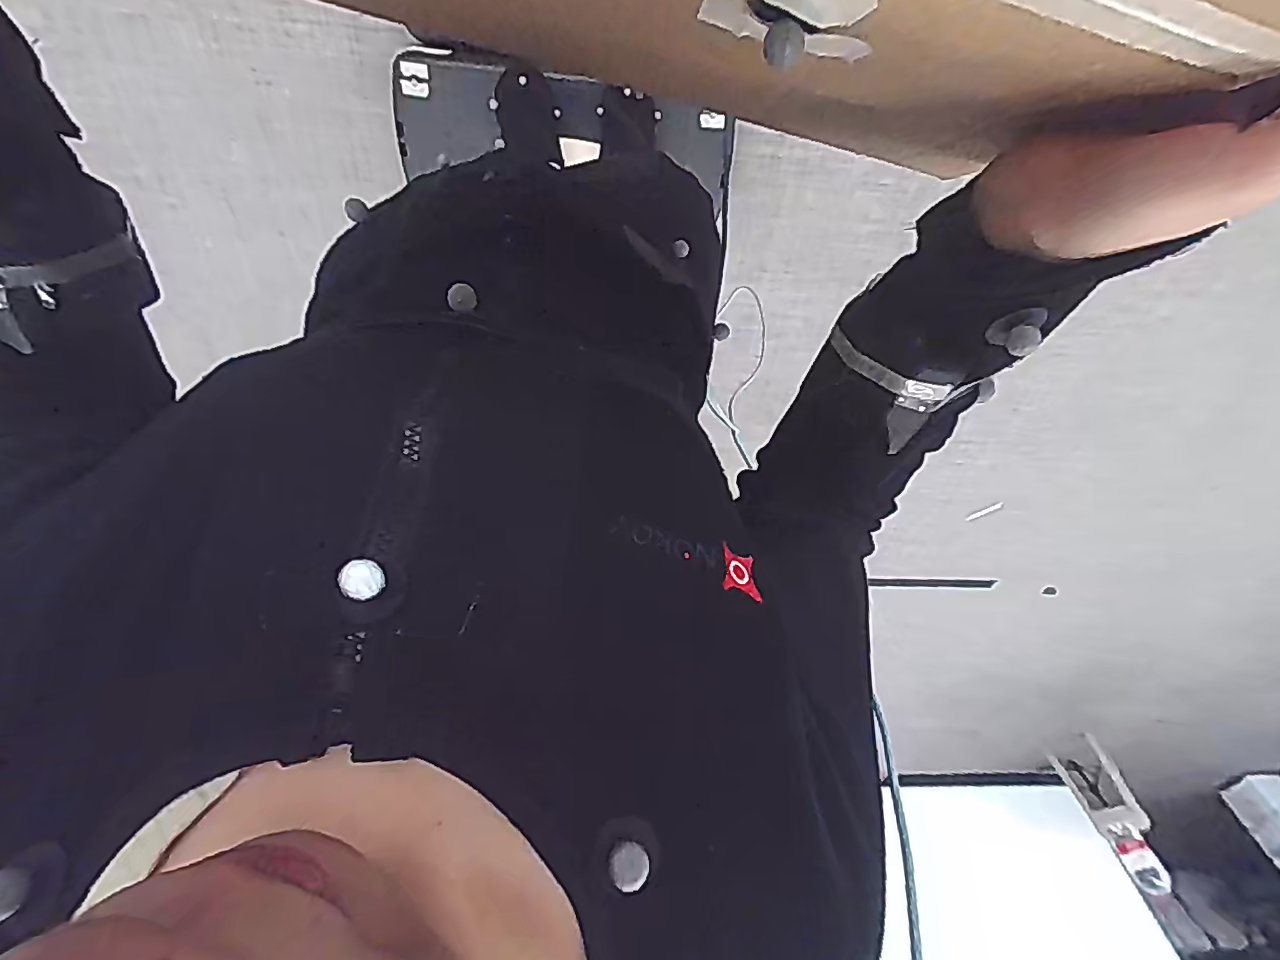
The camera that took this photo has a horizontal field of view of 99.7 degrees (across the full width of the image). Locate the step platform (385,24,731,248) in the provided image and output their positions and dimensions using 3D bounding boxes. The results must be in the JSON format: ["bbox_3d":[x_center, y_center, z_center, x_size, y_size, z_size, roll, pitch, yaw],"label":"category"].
[{"bbox_3d":[-0.158,-0.702,1.134,0.684,0.204,0.286,8,129,-7],"label":"step platform"}]
